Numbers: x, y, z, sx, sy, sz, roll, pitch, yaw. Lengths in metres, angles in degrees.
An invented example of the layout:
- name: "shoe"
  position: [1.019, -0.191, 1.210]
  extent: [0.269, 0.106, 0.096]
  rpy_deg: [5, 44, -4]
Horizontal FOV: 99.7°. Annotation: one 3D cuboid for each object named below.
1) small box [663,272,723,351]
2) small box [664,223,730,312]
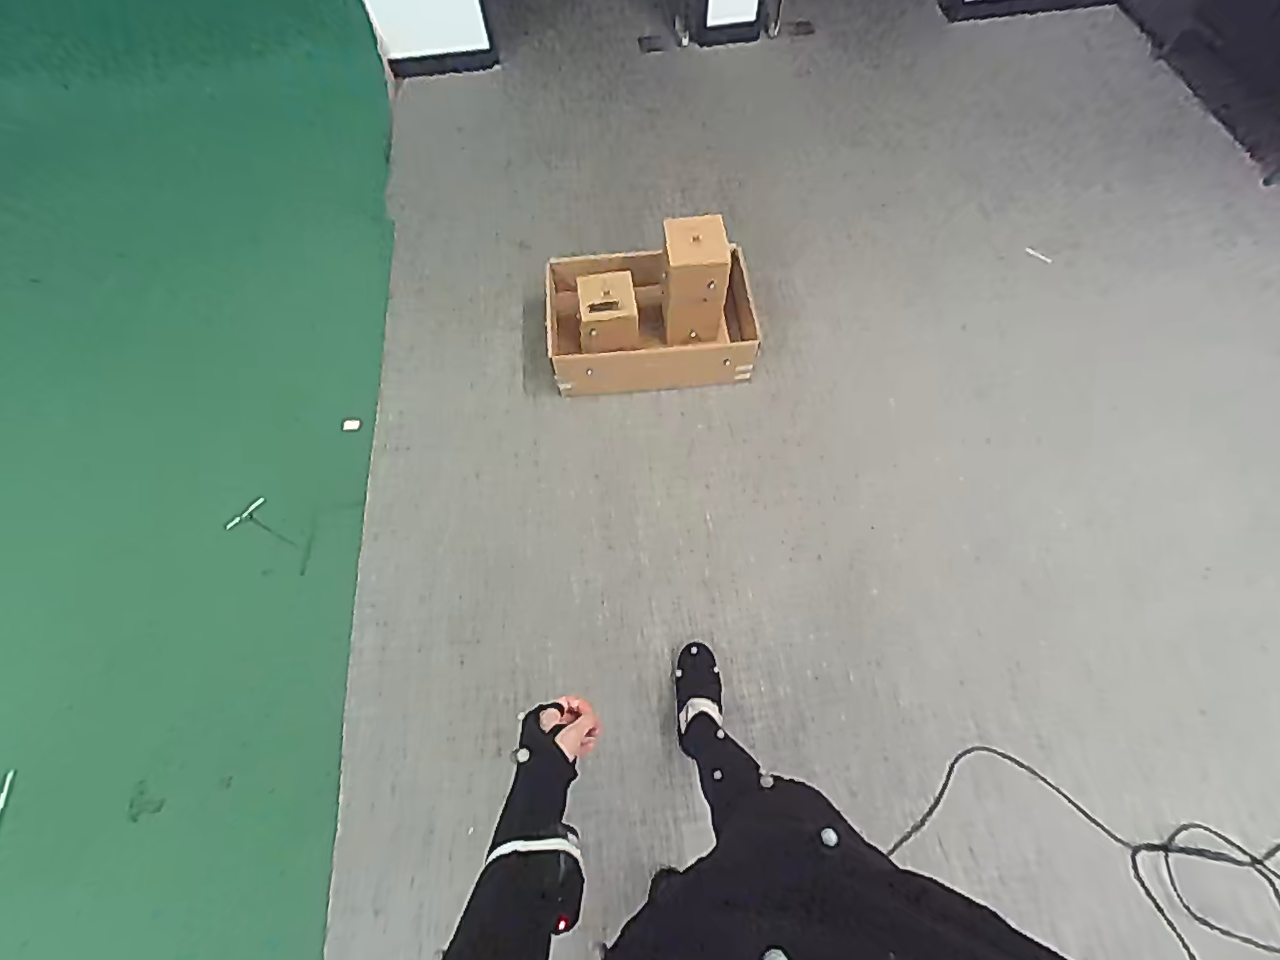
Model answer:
- name: "small box"
  position: [0.160, -0.531, 1.690]
  extent: [0.168, 0.176, 0.179]
  rpy_deg: [-6, 65, 1]
- name: "small box"
  position: [0.158, -0.597, 1.541]
  extent: [0.168, 0.176, 0.179]
  rpy_deg: [-5, 64, -1]
